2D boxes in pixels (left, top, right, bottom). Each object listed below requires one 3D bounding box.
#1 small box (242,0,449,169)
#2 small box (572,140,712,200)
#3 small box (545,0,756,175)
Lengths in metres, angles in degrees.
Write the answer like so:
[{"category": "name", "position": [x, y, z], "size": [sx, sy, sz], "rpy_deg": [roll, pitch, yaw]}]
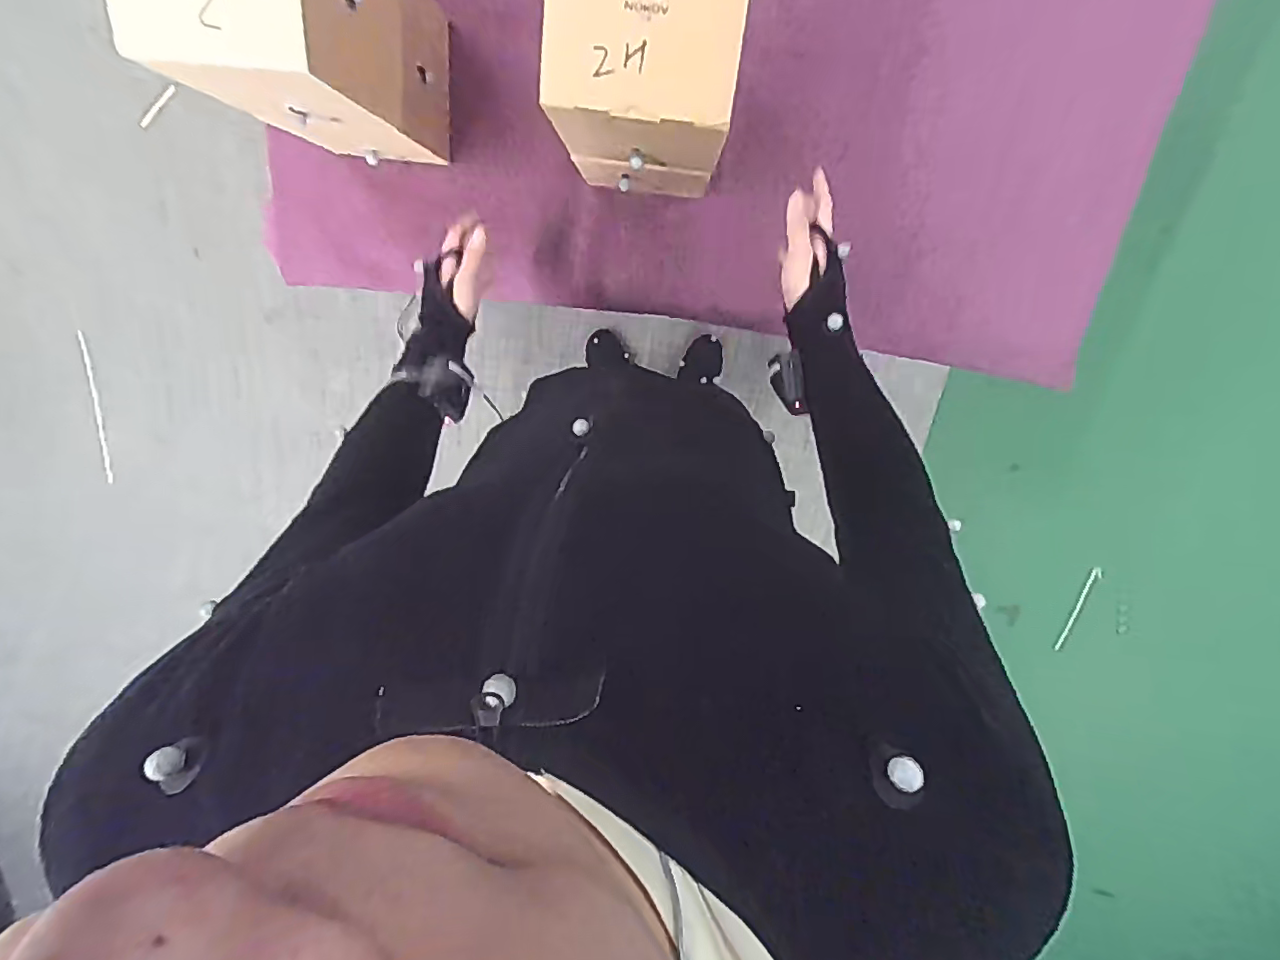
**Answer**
[{"category": "small box", "position": [-0.343, -0.503, 0.659], "size": [0.168, 0.176, 0.179], "rpy_deg": [6, 109, -1]}, {"category": "small box", "position": [0.015, -0.460, 0.669], "size": [0.168, 0.176, 0.179], "rpy_deg": [6, 108, 0]}, {"category": "small box", "position": [0.013, -0.414, 0.511], "size": [0.168, 0.176, 0.179], "rpy_deg": [8, 108, 0]}]
